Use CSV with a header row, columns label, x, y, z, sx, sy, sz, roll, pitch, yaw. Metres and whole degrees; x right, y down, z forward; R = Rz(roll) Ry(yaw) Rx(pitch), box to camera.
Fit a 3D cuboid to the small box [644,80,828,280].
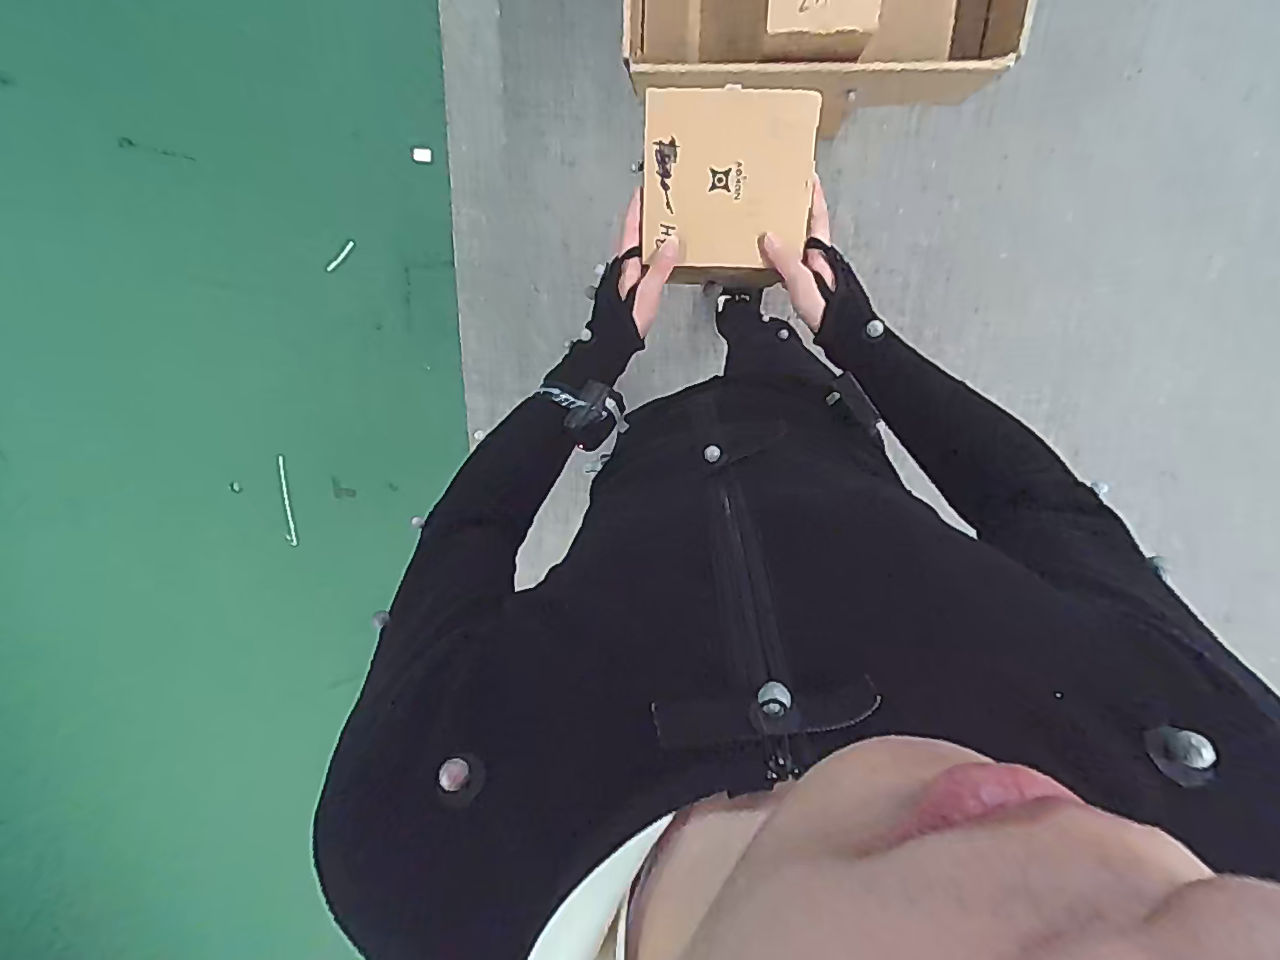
label,x,y,z,sx,sy,sz,roll,pitch,yaw
small box,0.095,-0.328,0.622,0.179,0.176,0.168,1,104,0
